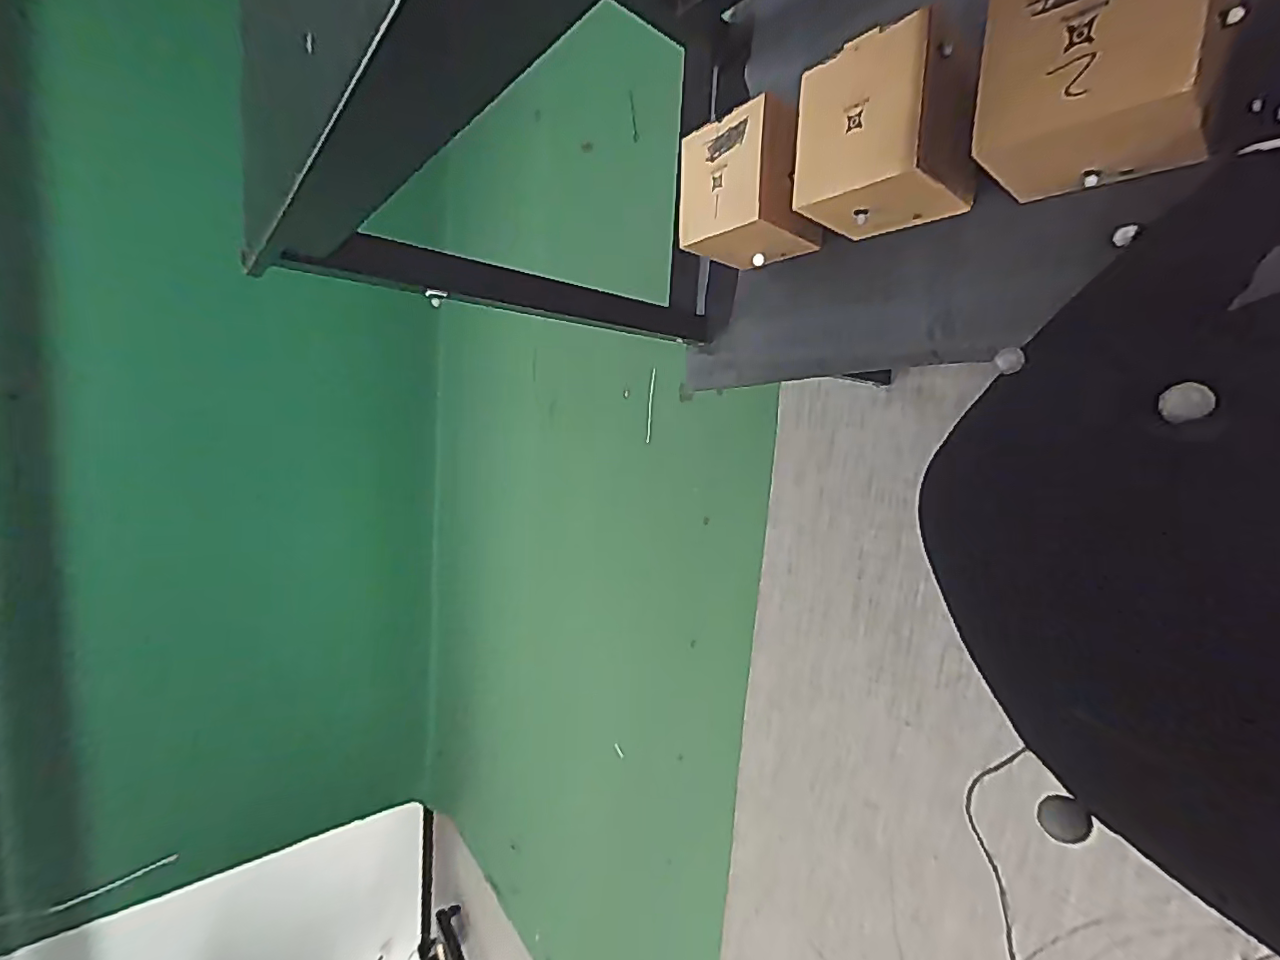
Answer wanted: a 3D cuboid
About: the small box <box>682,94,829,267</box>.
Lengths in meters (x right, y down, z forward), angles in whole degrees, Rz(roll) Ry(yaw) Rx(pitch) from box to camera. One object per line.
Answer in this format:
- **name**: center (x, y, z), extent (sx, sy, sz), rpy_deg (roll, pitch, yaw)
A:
- **small box**: center (0.188, -0.468, 0.878), extent (0.168, 0.176, 0.179), rpy_deg (8, 97, 50)
